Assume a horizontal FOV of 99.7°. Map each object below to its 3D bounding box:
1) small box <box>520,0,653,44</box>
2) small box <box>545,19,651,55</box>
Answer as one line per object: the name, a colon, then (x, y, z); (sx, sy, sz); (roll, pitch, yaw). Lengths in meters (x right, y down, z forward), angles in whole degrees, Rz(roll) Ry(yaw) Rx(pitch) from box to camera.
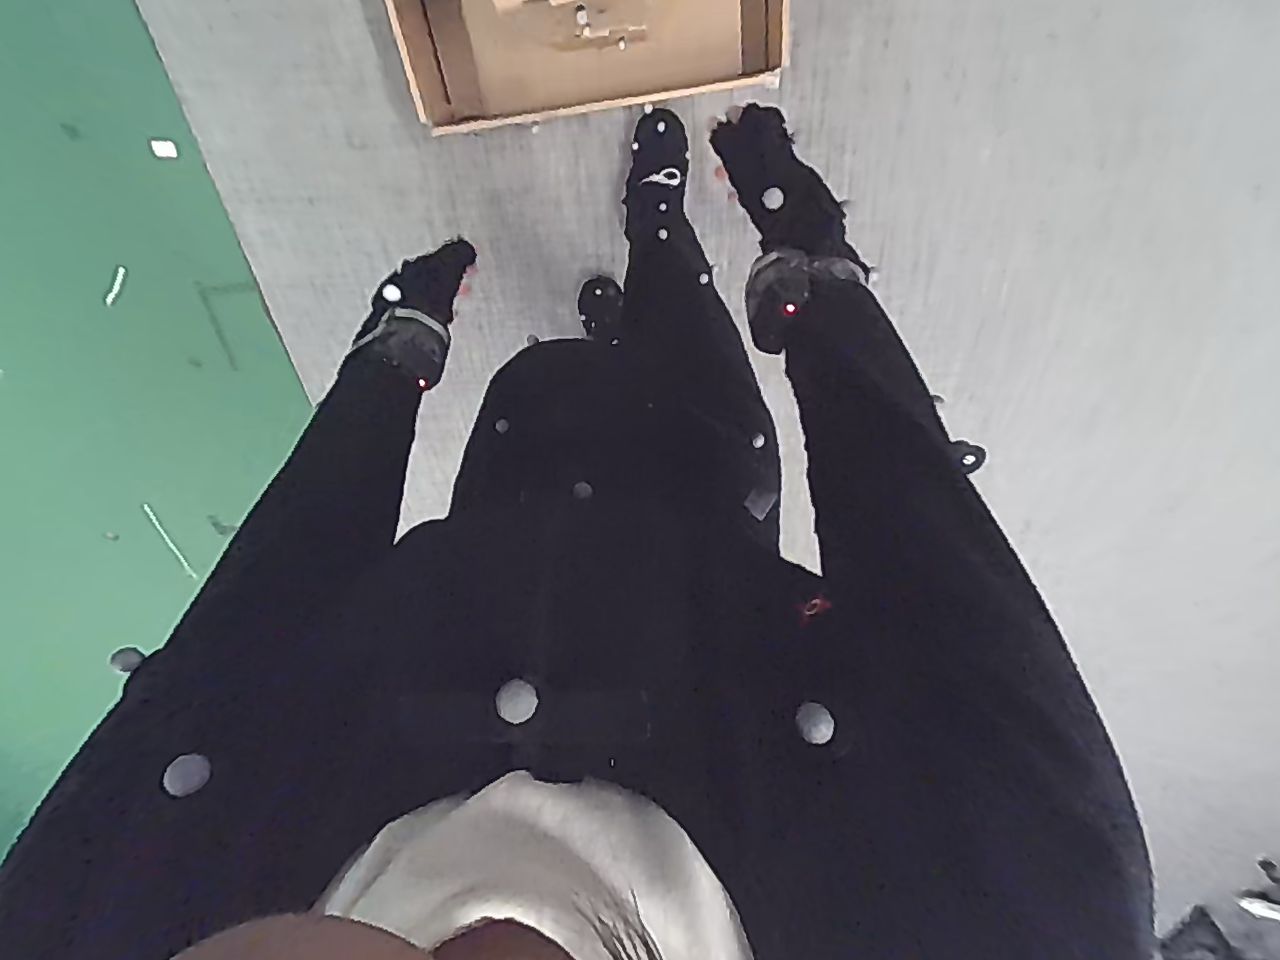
small box: (-0.077, -0.706, 0.723); (0.179, 0.176, 0.168); (-4, 123, 6)
small box: (-0.071, -0.796, 0.859); (0.168, 0.176, 0.179); (-3, 122, 4)
